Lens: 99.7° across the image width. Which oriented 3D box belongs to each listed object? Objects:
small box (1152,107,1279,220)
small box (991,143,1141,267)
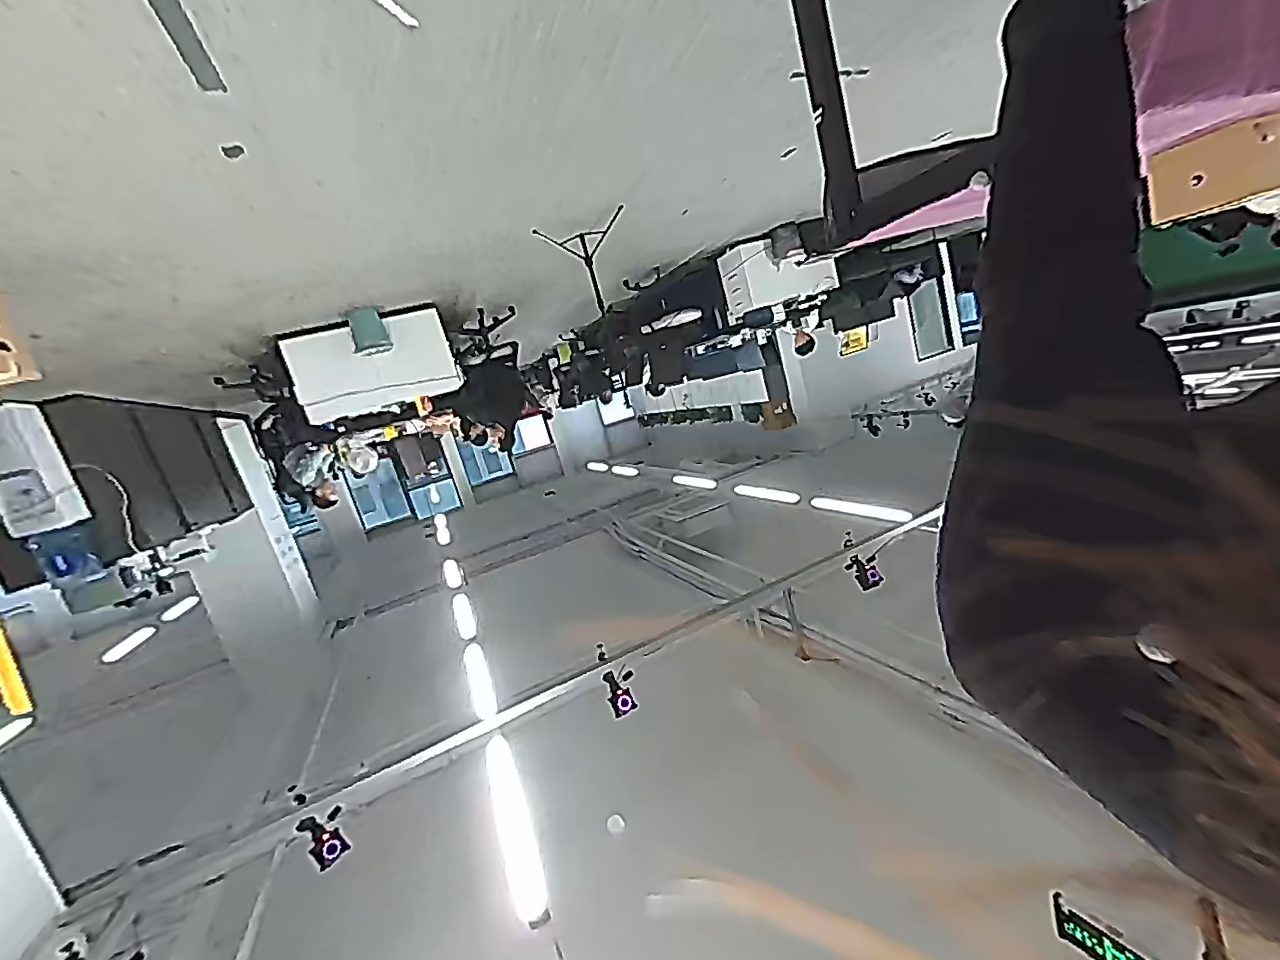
[{"bbox_3d":[1.366,-0.746,1.283,0.168,0.176,0.179,-19,-170,-15],"label":"small box"},{"bbox_3d":[0.850,-0.556,1.092,0.168,0.176,0.179,-19,-169,-13],"label":"small box"}]
